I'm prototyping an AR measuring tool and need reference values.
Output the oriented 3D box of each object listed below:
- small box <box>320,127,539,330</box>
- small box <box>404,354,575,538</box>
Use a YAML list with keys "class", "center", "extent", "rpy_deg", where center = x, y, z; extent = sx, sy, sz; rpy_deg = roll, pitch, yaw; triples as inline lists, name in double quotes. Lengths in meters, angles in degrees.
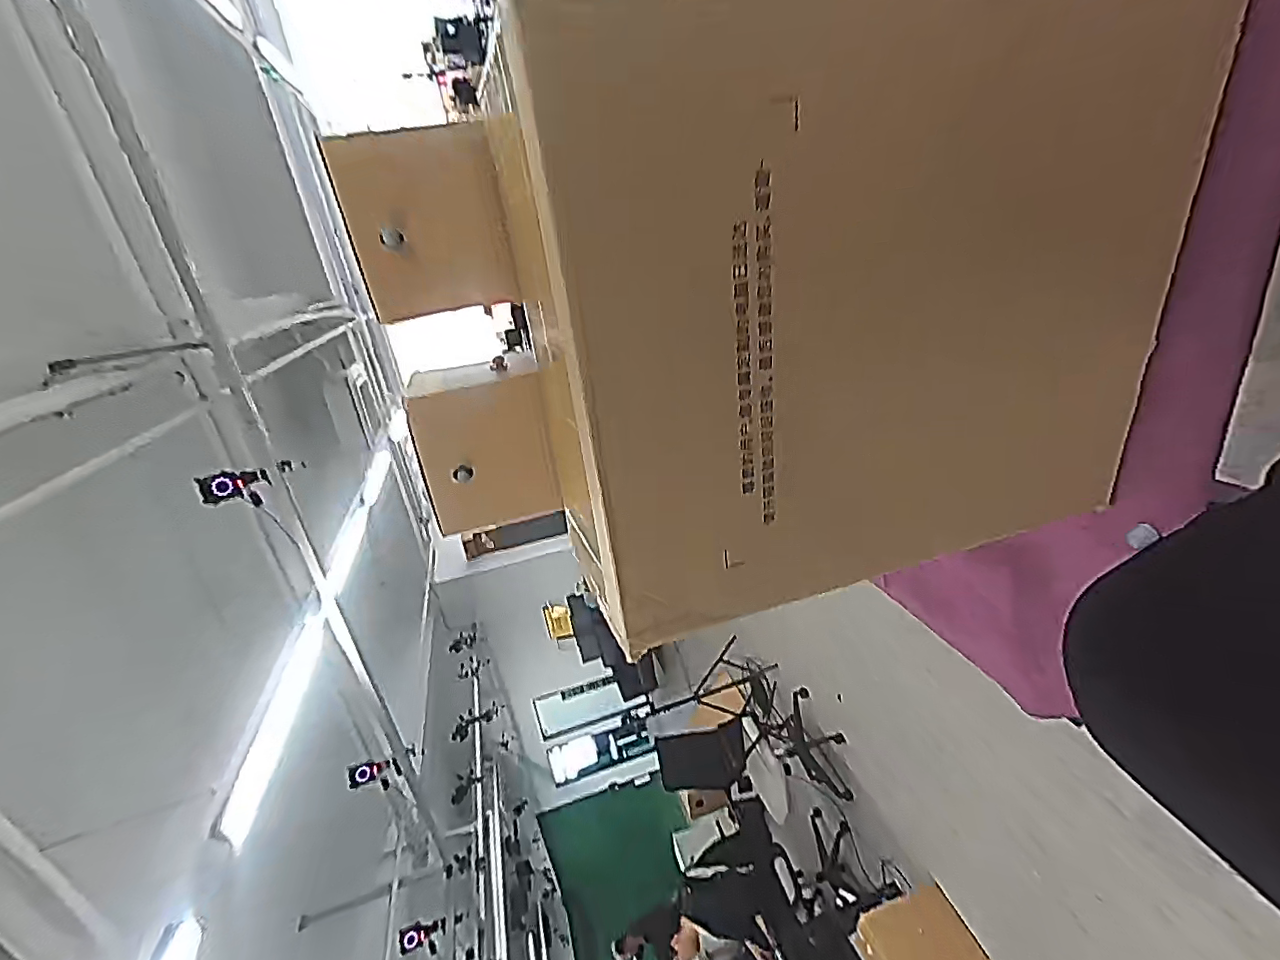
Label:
- class: "small box"
  center: [-0.223, -0.277, 0.611]
  extent: [0.168, 0.176, 0.179]
  rpy_deg: [-133, 29, -66]
- class: "small box"
  center: [-0.188, -0.053, 0.701]
  extent: [0.168, 0.176, 0.179]
  rpy_deg: [-131, 31, -62]
